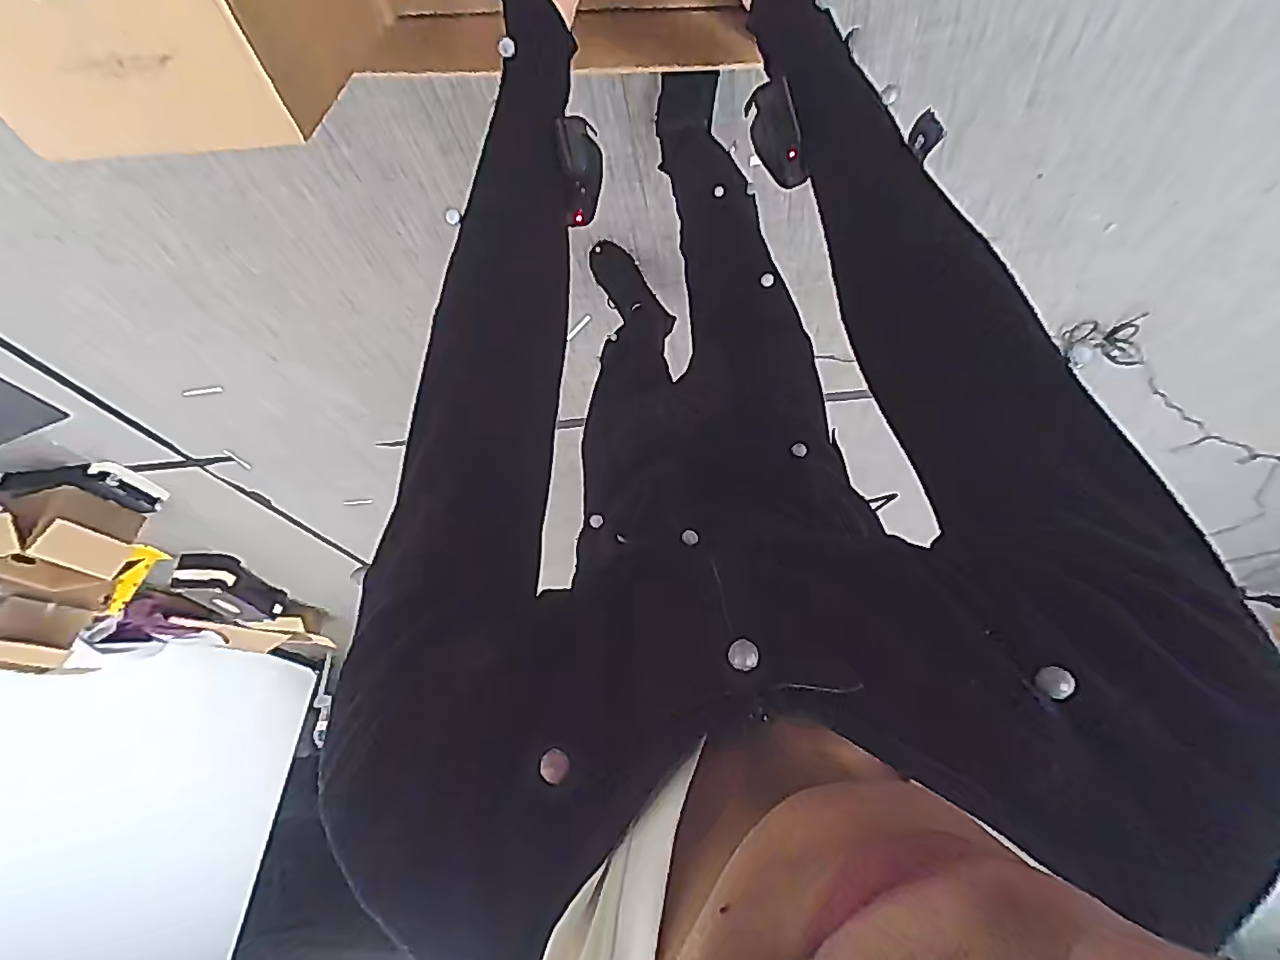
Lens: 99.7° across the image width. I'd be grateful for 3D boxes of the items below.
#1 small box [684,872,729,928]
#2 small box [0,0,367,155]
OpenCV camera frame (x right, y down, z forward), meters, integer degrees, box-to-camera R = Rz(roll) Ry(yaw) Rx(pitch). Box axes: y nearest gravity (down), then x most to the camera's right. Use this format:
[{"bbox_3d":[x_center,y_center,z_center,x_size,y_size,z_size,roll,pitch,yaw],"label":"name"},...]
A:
[{"bbox_3d":[0.280,1.771,2.286,0.179,0.176,0.168,-5,148,10],"label":"small box"},{"bbox_3d":[-0.276,-0.302,0.278,0.168,0.176,0.179,-1,147,3],"label":"small box"}]
